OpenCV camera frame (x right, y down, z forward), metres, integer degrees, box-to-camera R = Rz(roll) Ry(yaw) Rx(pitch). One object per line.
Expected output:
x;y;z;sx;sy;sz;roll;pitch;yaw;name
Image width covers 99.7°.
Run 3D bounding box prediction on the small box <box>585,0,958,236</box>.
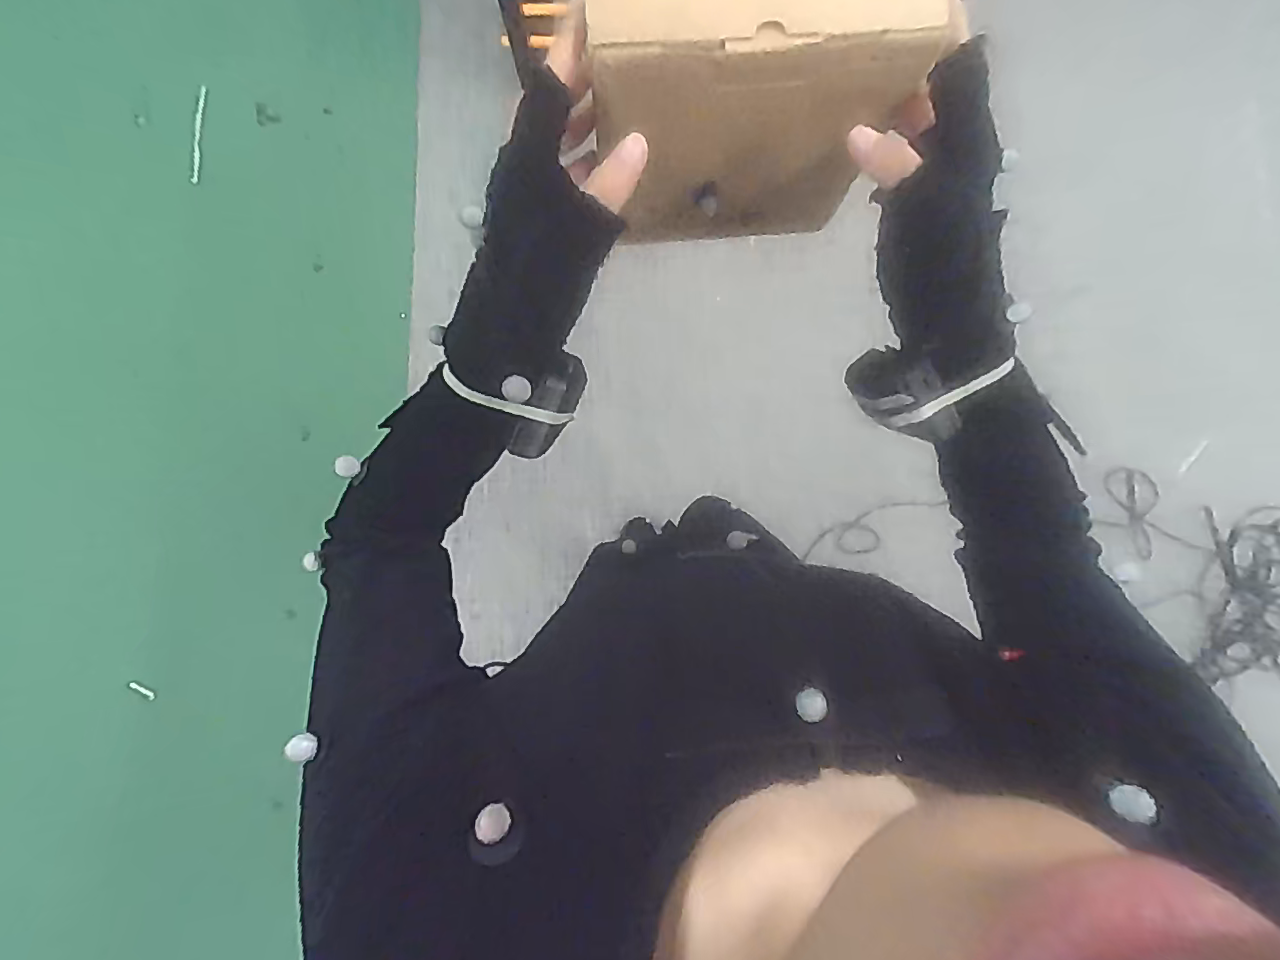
0.051;-0.275;0.323;0.168;0.176;0.179;-5;85;-1;small box
